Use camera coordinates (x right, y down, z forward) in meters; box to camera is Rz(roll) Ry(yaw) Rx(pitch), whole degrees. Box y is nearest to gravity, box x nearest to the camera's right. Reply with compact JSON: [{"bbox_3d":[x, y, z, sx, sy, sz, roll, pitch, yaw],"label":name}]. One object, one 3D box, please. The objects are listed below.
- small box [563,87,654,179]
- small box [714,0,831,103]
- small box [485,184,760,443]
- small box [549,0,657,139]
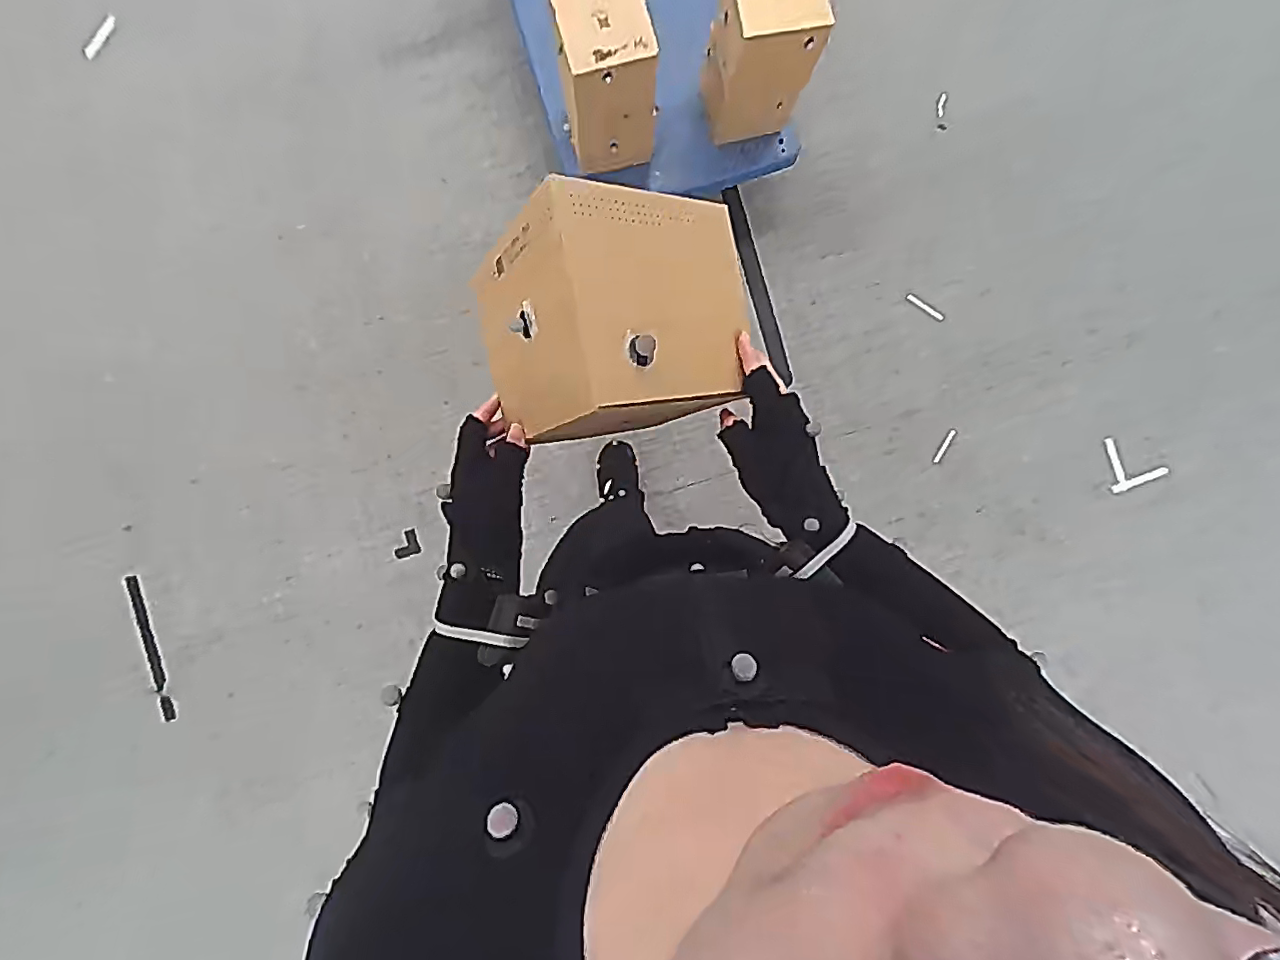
[{"bbox_3d":[-0.074,-0.819,1.224,0.179,0.176,0.168,-13,90,-2],"label":"small box"},{"bbox_3d":[0.251,-0.891,1.076,0.179,0.176,0.168,-11,90,-3],"label":"small box"},{"bbox_3d":[-0.023,-0.137,0.489,0.179,0.168,0.176,-11,91,-35],"label":"small box"},{"bbox_3d":[-0.072,-0.819,1.060,0.168,0.176,0.179,-16,90,-2],"label":"small box"}]
